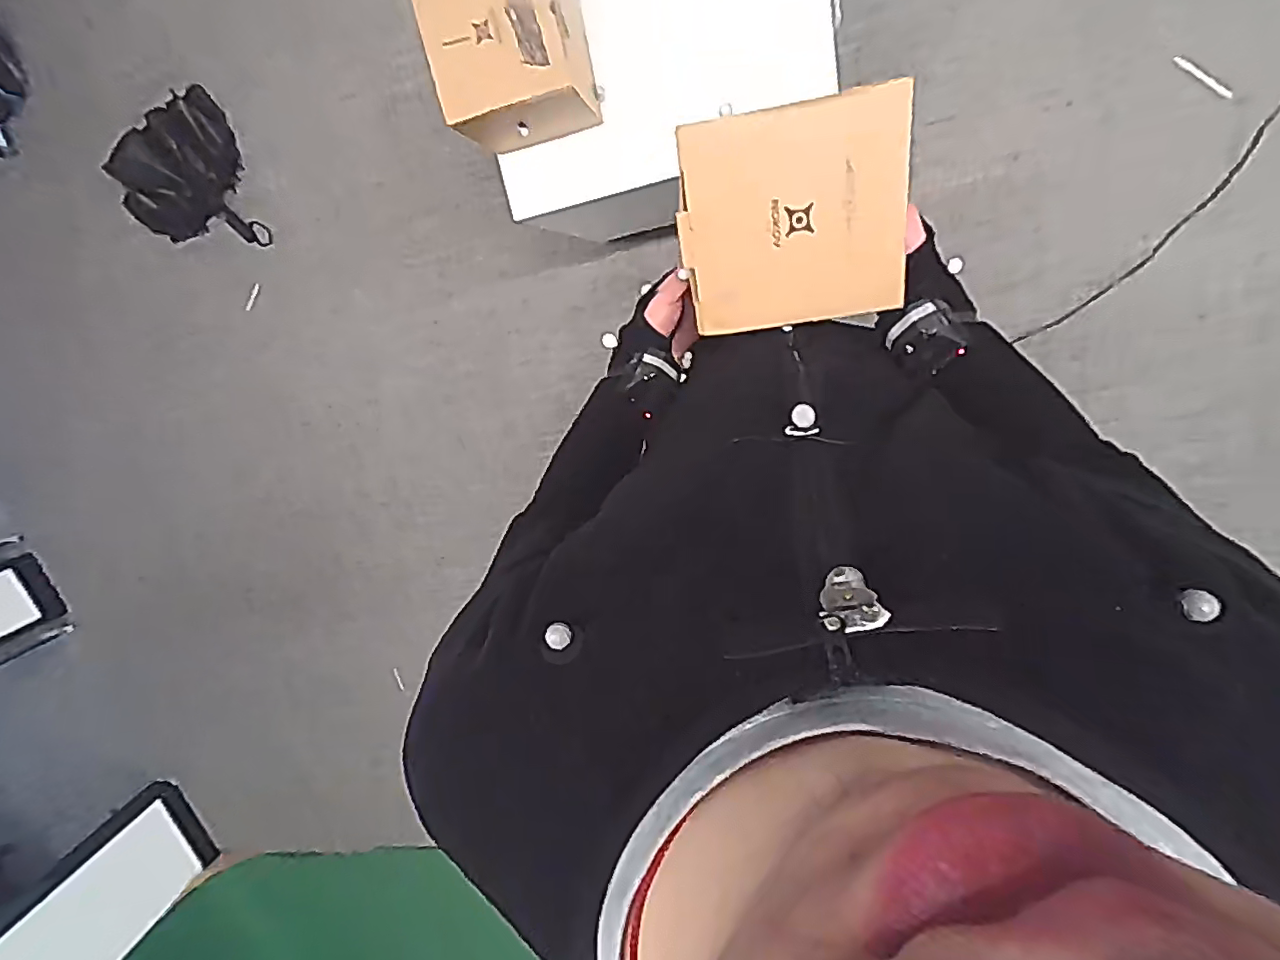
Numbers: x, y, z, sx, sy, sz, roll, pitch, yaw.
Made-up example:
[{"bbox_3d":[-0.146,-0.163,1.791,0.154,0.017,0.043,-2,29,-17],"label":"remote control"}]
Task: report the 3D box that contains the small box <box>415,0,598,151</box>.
[{"bbox_3d":[-0.165,-0.568,0.726,0.179,0.176,0.168,-7,108,14],"label":"small box"}]
